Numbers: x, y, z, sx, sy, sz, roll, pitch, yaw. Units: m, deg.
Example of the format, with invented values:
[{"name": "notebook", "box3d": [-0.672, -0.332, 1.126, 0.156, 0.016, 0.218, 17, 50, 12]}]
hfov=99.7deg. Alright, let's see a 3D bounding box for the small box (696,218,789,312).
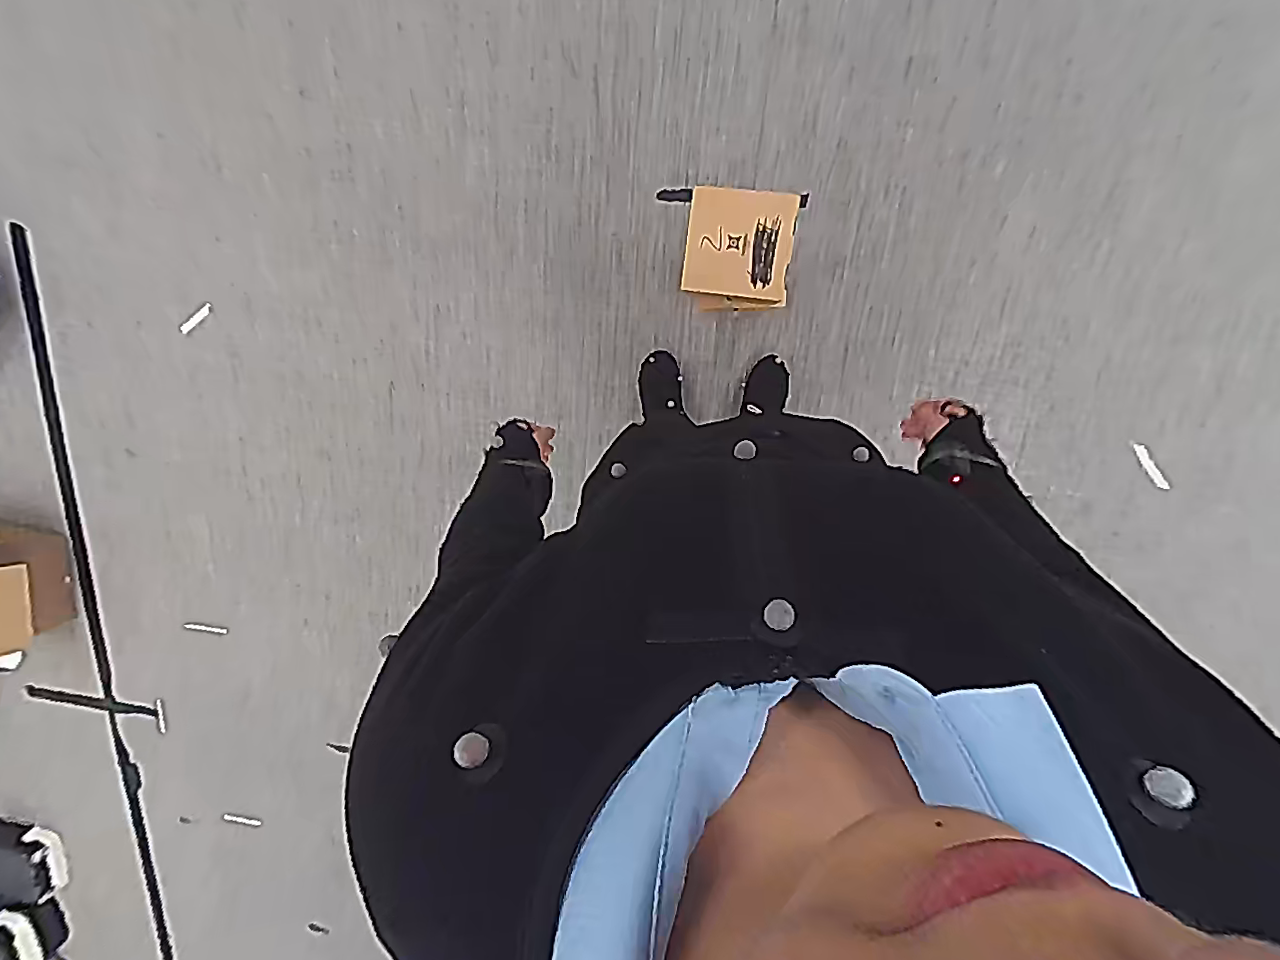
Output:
[{"name": "small box", "box3d": [0.206, -0.442, 1.130, 0.179, 0.176, 0.168, 1, 105, 7]}]
